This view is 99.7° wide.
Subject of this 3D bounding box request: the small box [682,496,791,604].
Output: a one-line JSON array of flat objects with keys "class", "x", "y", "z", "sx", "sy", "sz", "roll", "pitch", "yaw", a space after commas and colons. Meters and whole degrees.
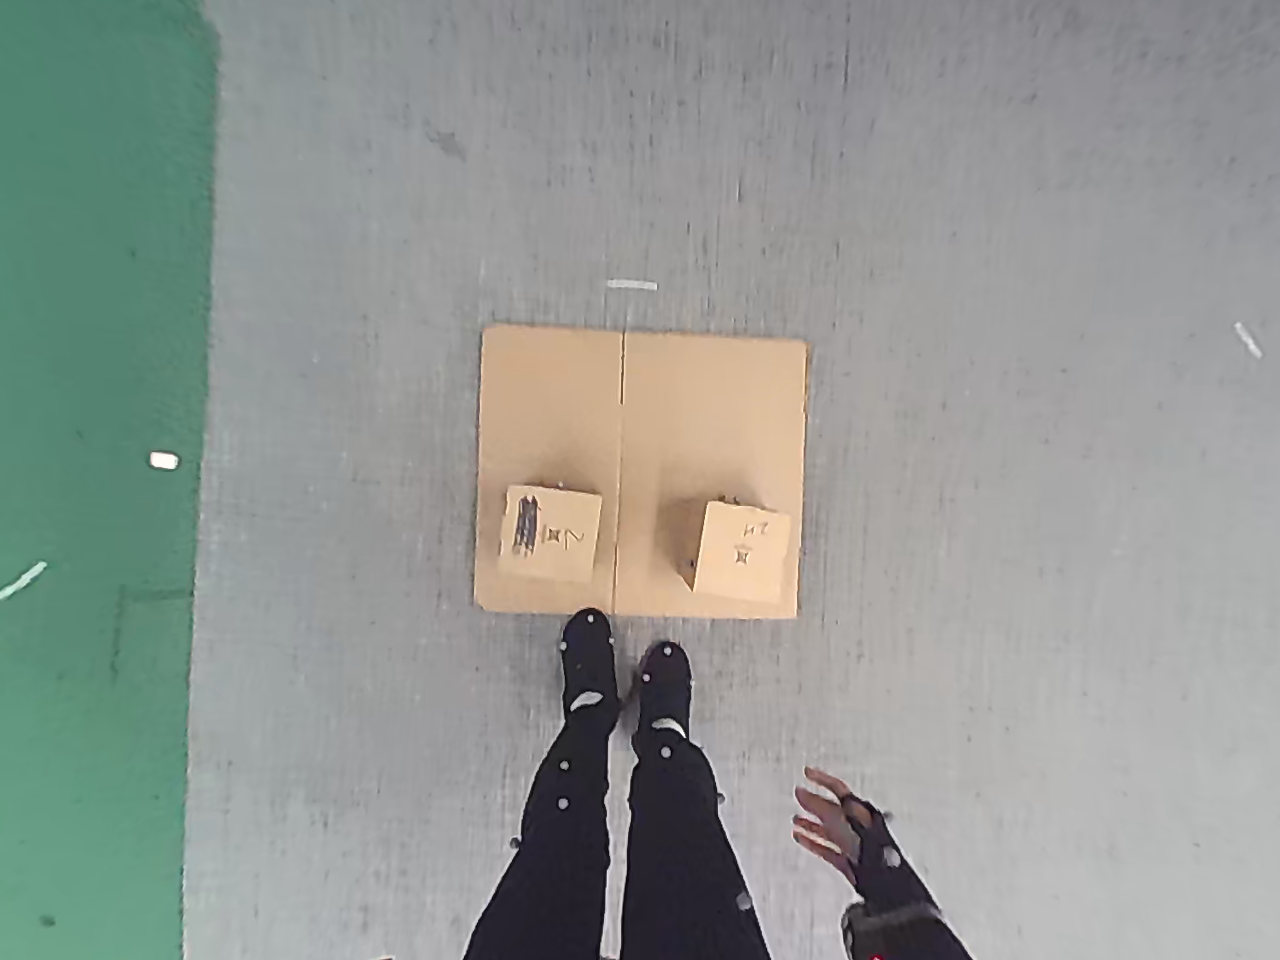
[{"class": "small box", "x": 0.184, "y": 0.132, "z": 1.083, "sx": 0.168, "sy": 0.176, "sz": 0.179, "roll": 10, "pitch": 89, "yaw": -4}]
